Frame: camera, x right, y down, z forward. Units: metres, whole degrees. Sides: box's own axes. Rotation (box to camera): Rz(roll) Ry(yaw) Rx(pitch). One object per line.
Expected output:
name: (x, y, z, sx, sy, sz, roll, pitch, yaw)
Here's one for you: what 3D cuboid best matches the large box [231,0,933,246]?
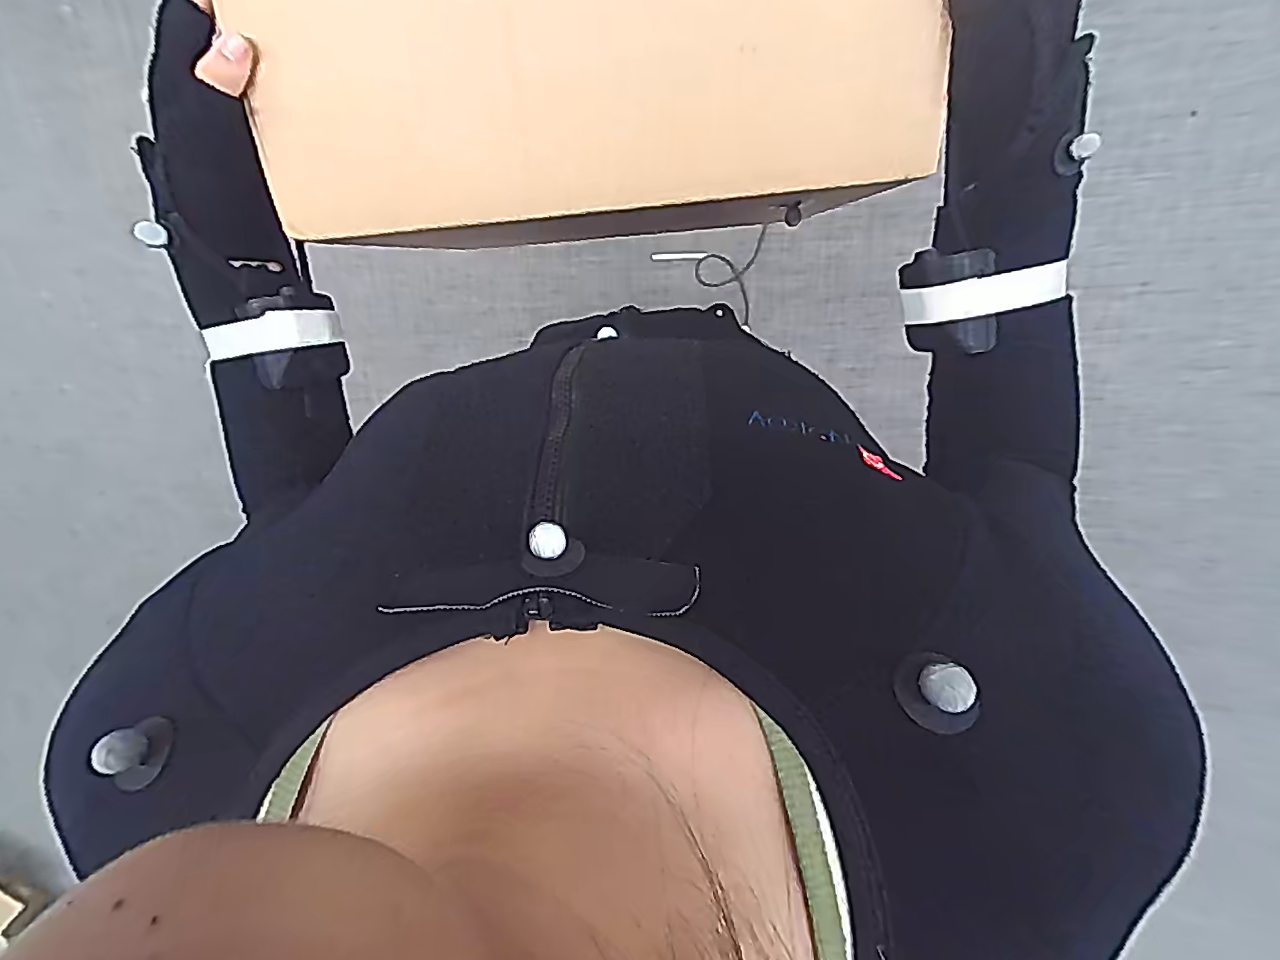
large box: (-0.033, -0.370, 0.426, 0.408, 0.320, 0.320, -4, 111, 4)
